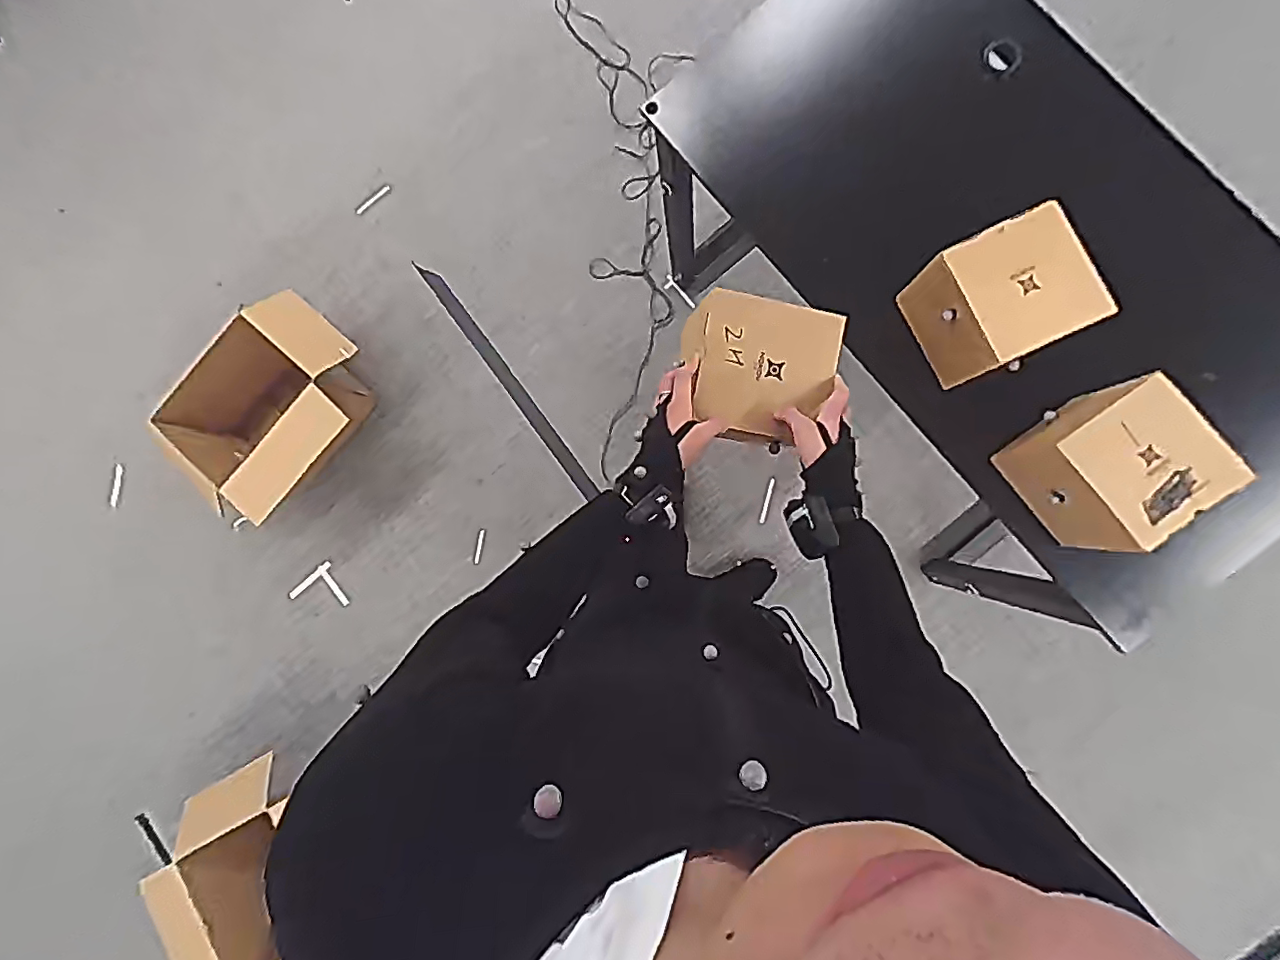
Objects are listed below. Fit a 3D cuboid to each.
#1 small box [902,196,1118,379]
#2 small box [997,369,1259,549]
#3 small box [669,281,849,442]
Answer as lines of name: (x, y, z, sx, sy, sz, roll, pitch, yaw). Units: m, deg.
small box: (0.526, -0.265, 0.797, 0.168, 0.176, 0.179, -25, 84, 4)
small box: (0.666, -0.024, 0.766, 0.168, 0.176, 0.179, -37, 82, 3)
small box: (0.148, -0.147, 0.732, 0.179, 0.176, 0.168, 10, 91, -6)
